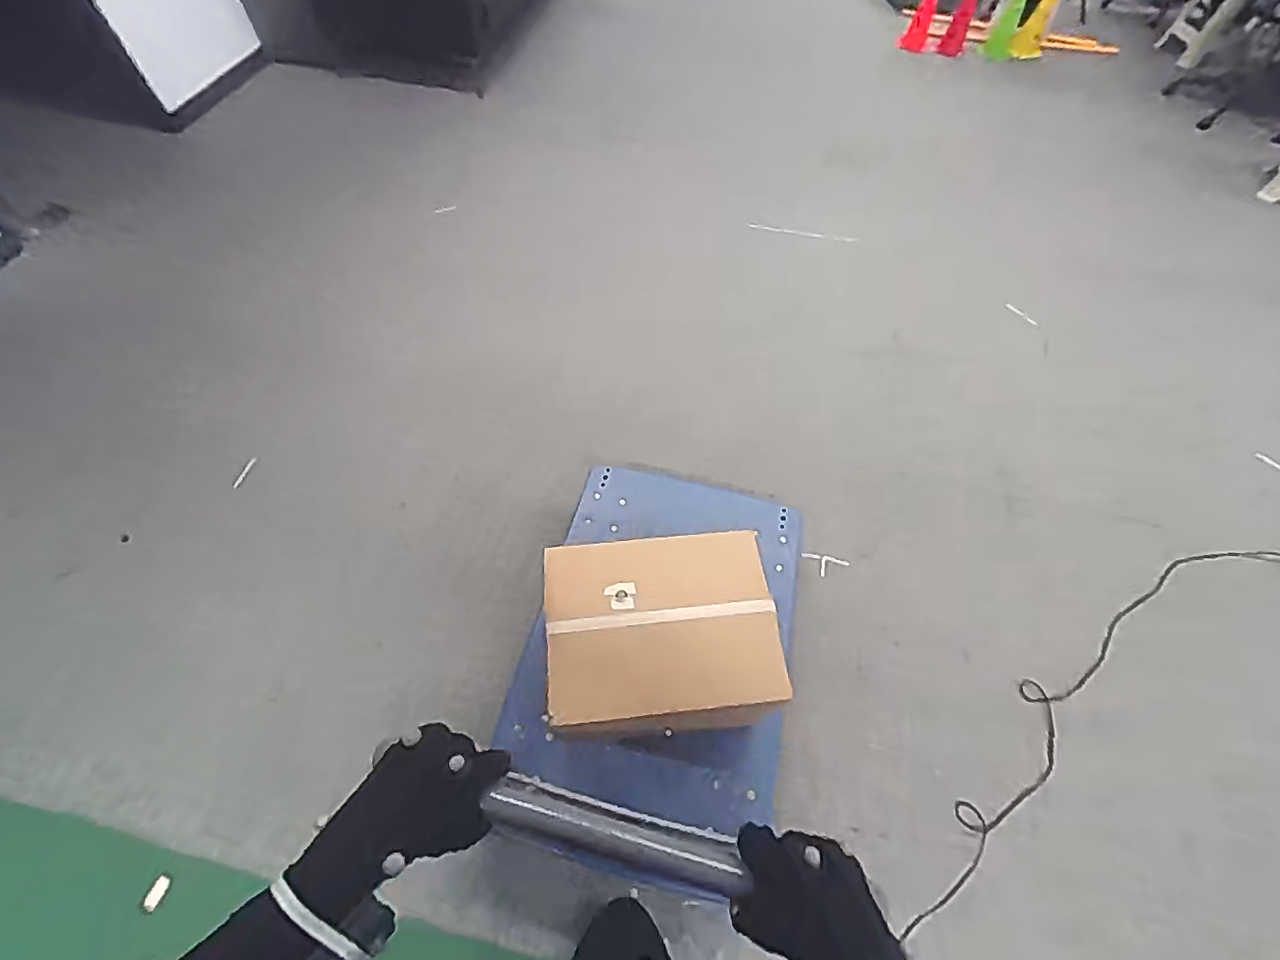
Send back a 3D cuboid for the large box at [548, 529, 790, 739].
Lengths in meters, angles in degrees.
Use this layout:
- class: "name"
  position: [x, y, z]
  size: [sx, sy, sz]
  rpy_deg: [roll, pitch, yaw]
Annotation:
- class: "large box"
  position: [0.039, 0.320, 1.093]
  size: [0.408, 0.320, 0.320]
  rpy_deg: [-5, 58, -4]
